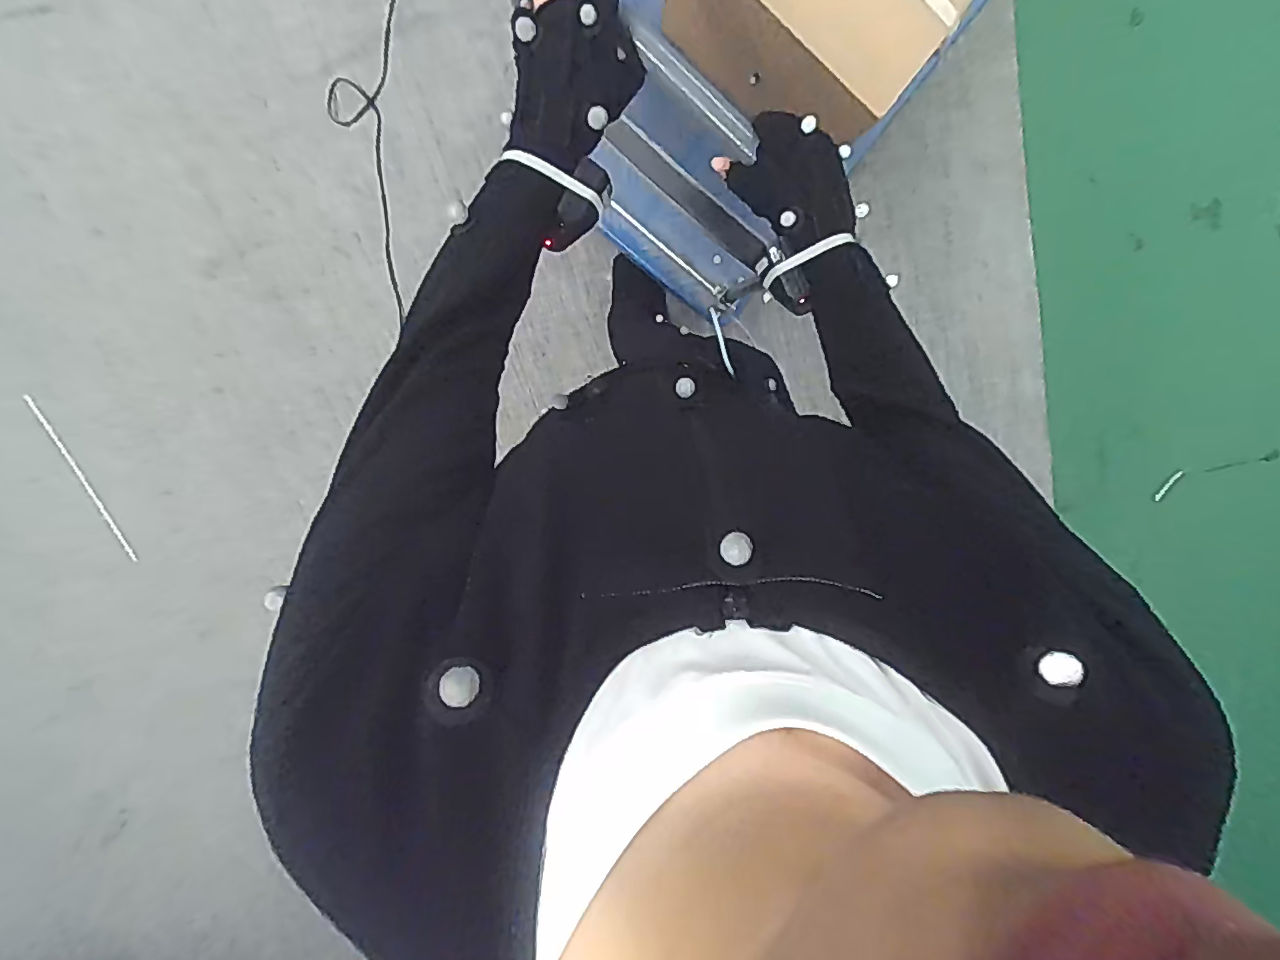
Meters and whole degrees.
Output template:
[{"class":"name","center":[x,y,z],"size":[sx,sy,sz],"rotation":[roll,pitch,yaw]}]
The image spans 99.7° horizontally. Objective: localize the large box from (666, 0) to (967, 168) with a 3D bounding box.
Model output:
[{"class":"large box","center":[0.299,-0.832,0.925],"size":[0.408,0.320,0.320],"rotation":[36,101,-11]}]
